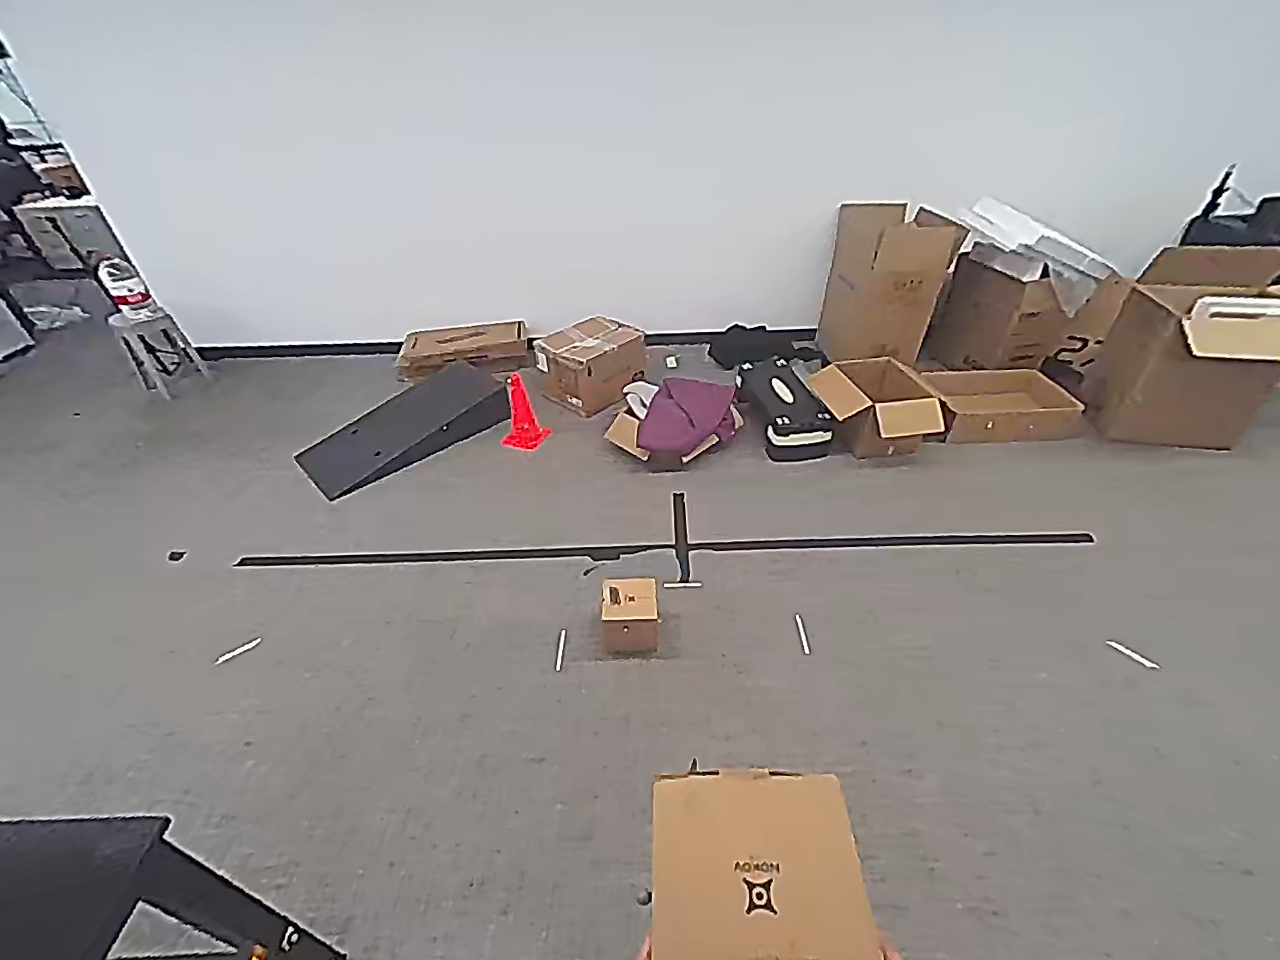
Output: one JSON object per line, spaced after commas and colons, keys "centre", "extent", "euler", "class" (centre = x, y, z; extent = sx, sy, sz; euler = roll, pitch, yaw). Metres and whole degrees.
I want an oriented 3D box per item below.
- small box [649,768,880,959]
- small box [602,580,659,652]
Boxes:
{"centre": [0.092, 0.376, 0.466], "extent": [0.168, 0.176, 0.179], "euler": [-1, 38, 3], "class": "small box"}
{"centre": [-0.028, 0.448, 1.778], "extent": [0.179, 0.176, 0.168], "euler": [-2, 38, 0], "class": "small box"}
